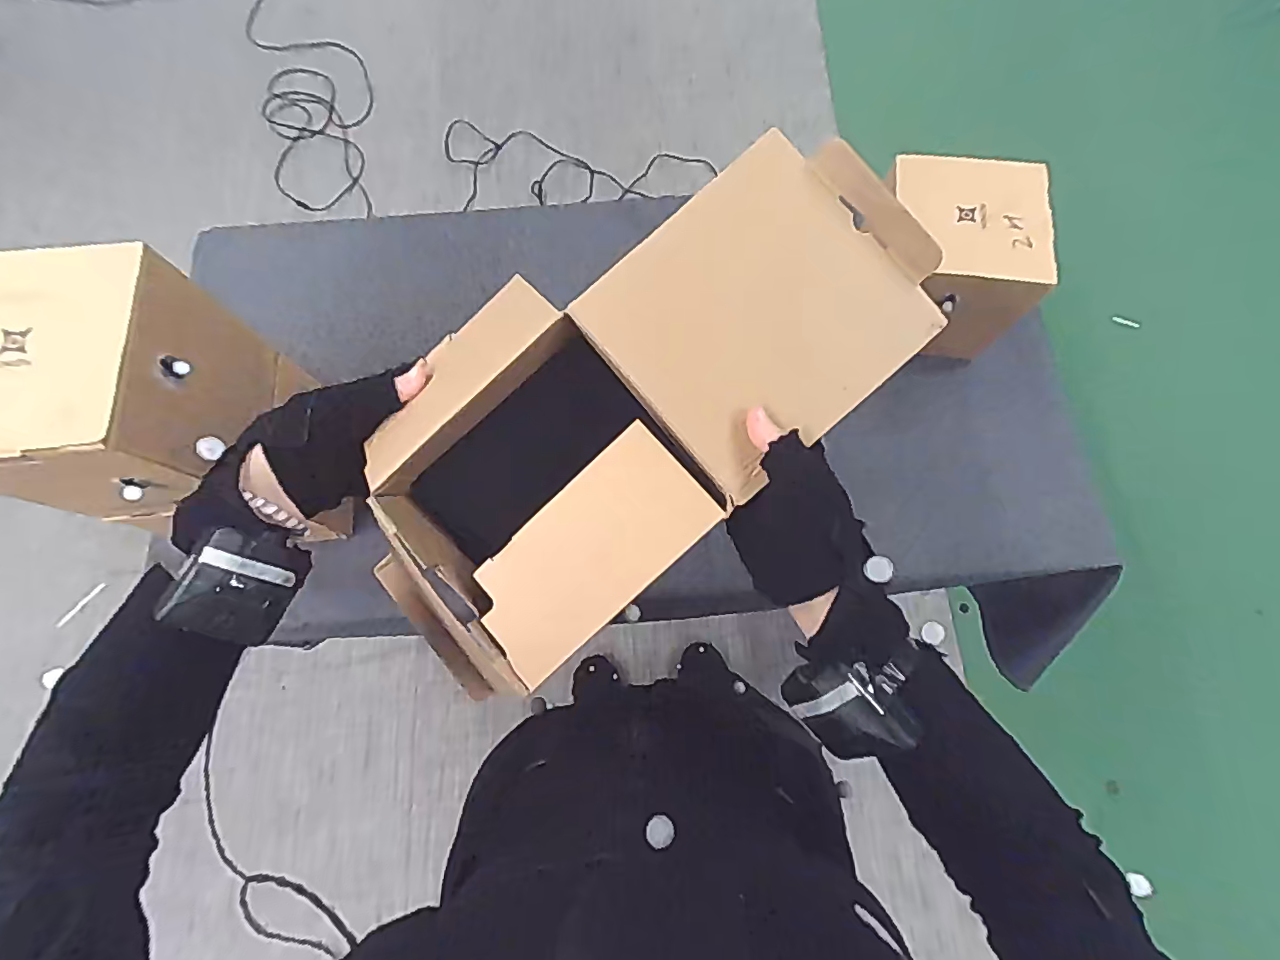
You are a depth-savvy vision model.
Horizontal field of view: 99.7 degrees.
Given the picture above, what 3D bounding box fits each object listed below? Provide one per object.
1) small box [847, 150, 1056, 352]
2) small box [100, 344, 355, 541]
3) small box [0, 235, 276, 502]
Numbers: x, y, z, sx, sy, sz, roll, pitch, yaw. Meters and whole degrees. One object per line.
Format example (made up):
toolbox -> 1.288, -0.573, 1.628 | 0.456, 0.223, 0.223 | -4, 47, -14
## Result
small box -> 0.378, -0.279, 0.687 | 0.179, 0.176, 0.168 | 8, 75, 3
small box -> -0.457, -0.035, 0.634 | 0.168, 0.176, 0.179 | -6, 74, -1
small box -> -0.460, -0.082, 0.478 | 0.168, 0.176, 0.179 | -4, 73, -2
